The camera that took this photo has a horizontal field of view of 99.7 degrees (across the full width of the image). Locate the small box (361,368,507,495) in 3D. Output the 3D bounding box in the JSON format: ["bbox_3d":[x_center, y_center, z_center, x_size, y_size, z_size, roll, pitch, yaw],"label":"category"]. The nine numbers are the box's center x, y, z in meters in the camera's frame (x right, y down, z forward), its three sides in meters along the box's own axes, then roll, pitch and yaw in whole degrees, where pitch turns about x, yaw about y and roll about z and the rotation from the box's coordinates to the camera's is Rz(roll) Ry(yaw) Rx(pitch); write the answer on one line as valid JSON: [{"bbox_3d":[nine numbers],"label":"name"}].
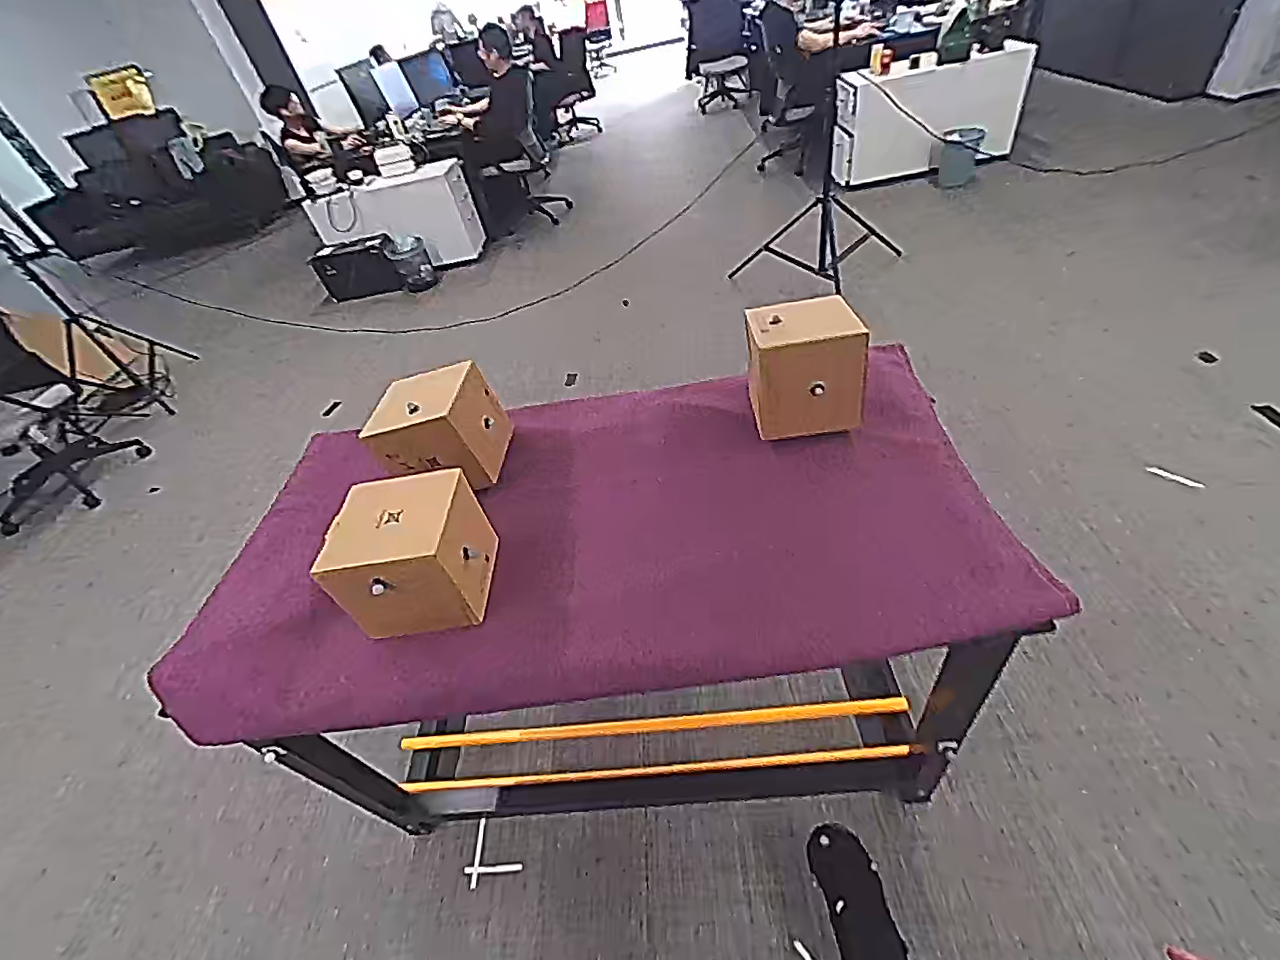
[{"bbox_3d":[-0.359,-0.082,0.990,0.179,0.168,0.176,-11,41,14],"label":"small box"}]

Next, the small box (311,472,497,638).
[{"bbox_3d":[-0.328,0.113,0.797,0.179,0.176,0.168,-9,43,5],"label":"small box"}]
